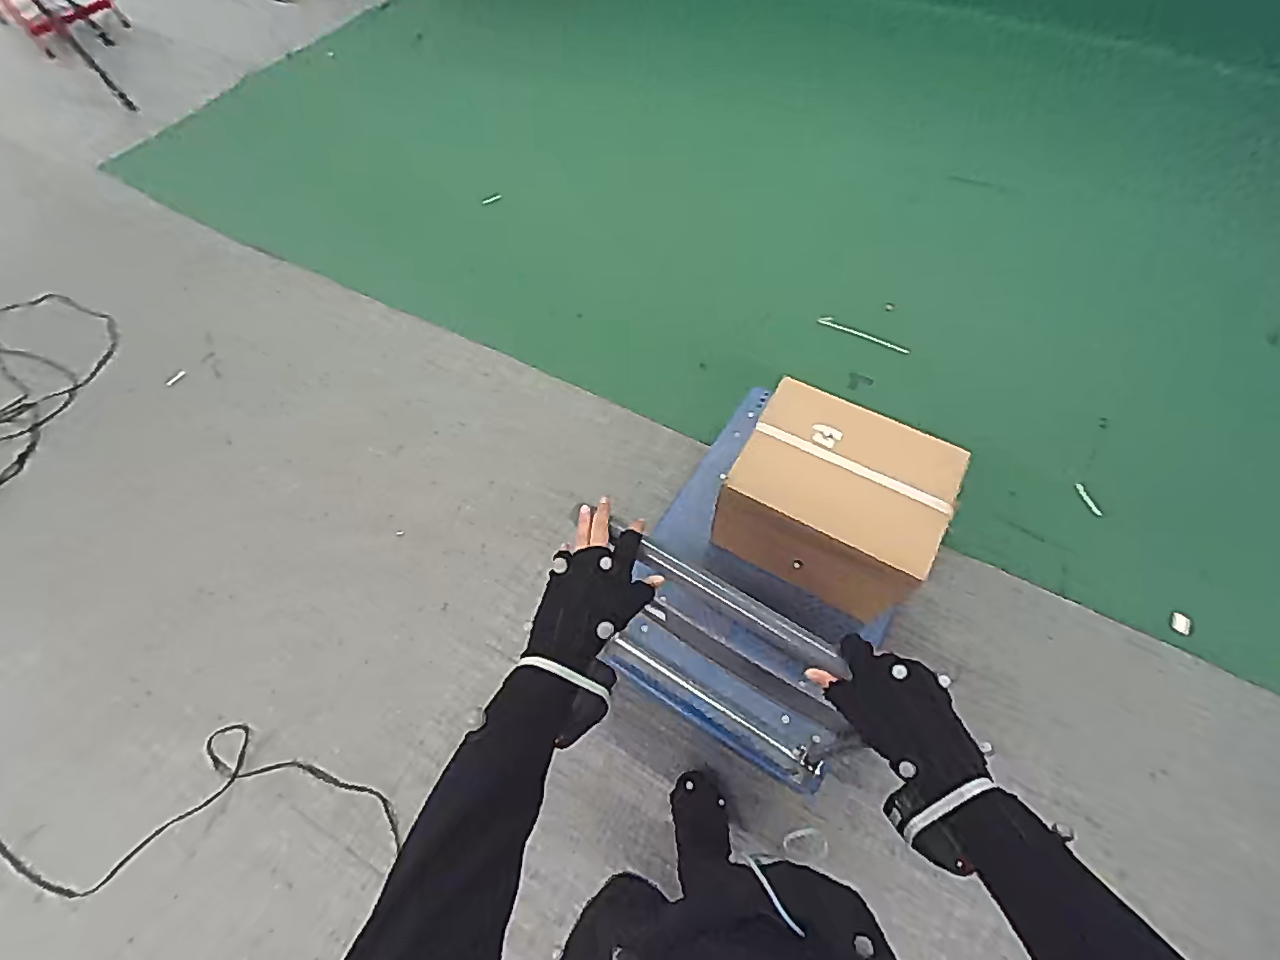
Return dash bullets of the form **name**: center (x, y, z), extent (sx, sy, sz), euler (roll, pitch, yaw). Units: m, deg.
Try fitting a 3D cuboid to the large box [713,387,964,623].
- **large box**: center (0.419, 0.062, 1.217), extent (0.408, 0.320, 0.320), euler (27, 65, 17)
